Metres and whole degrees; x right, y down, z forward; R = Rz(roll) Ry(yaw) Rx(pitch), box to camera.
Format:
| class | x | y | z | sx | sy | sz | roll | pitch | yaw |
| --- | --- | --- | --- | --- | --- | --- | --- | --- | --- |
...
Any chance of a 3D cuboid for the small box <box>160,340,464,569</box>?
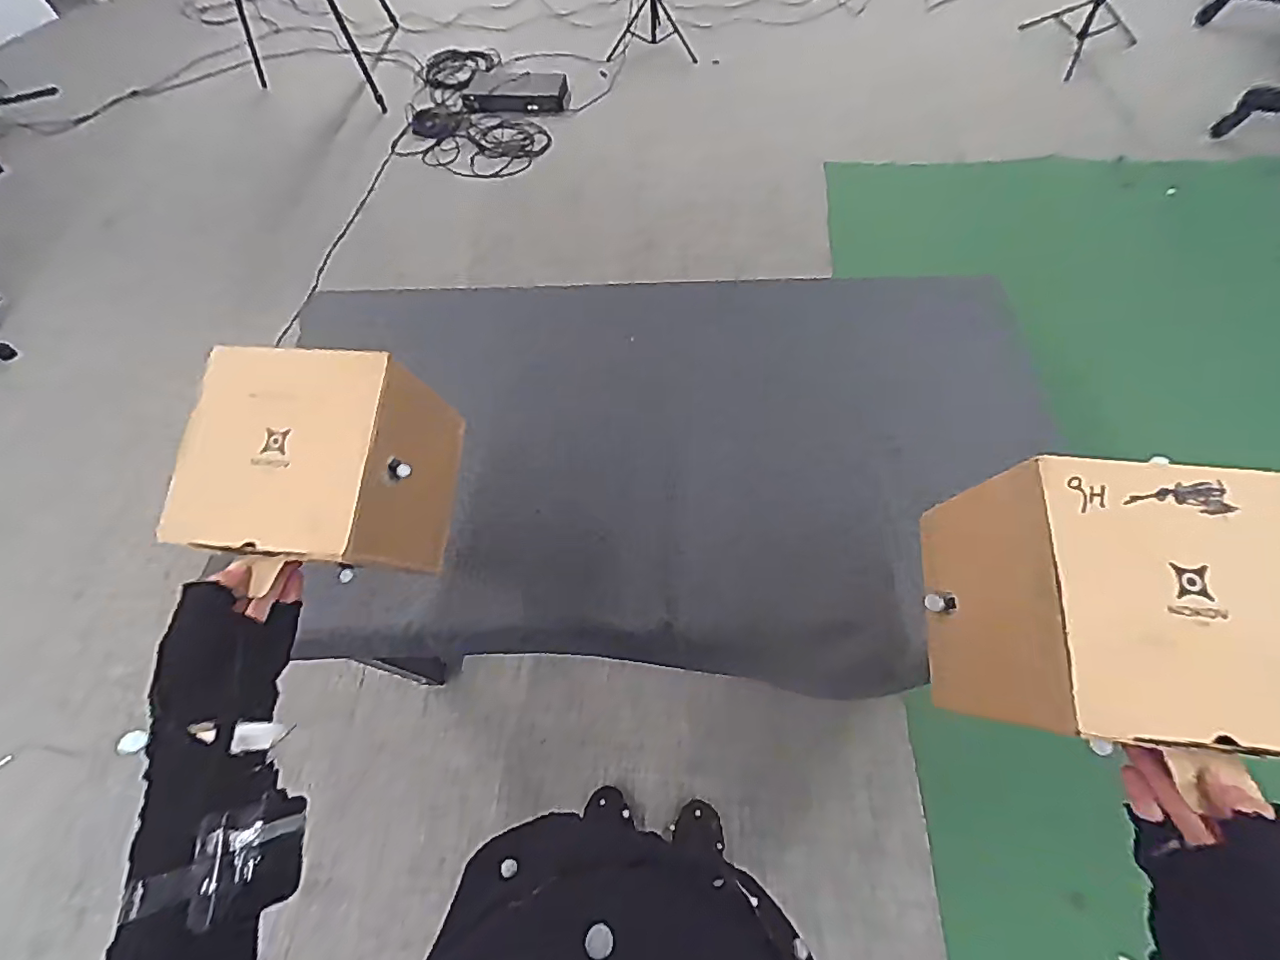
| class | x | y | z | sx | sy | sz | roll | pitch | yaw |
| --- | --- | --- | --- | --- | --- | --- | --- | --- | --- |
| small box | -0.286 | -0.012 | 0.516 | 0.168 | 0.176 | 0.179 | 4 | 76 | 5 |

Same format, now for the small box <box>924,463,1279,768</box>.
| class | x | y | z | sx | sy | sz | roll | pitch | yaw |
| --- | --- | --- | --- | --- | --- | --- | --- | --- | --- |
| small box | 0.339 | 0.100 | 0.408 | 0.168 | 0.176 | 0.179 | 5 | 73 | 2 |
